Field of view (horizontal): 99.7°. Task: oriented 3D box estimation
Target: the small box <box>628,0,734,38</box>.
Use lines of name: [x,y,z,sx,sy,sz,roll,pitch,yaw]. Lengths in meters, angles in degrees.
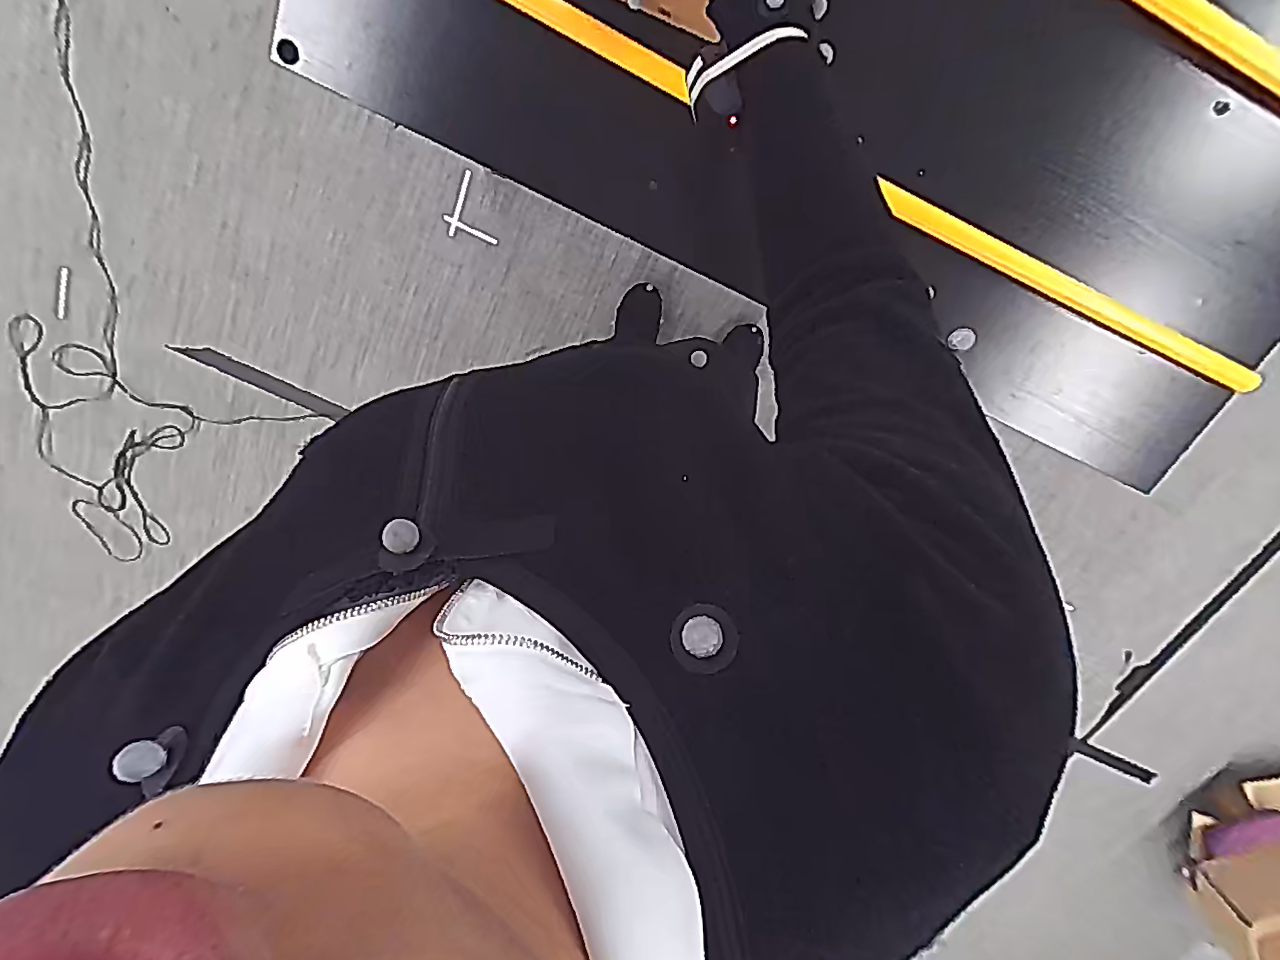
small box: [0.038,-0.539,0.463,0.168,0.176,0.179,21,111,-6]
